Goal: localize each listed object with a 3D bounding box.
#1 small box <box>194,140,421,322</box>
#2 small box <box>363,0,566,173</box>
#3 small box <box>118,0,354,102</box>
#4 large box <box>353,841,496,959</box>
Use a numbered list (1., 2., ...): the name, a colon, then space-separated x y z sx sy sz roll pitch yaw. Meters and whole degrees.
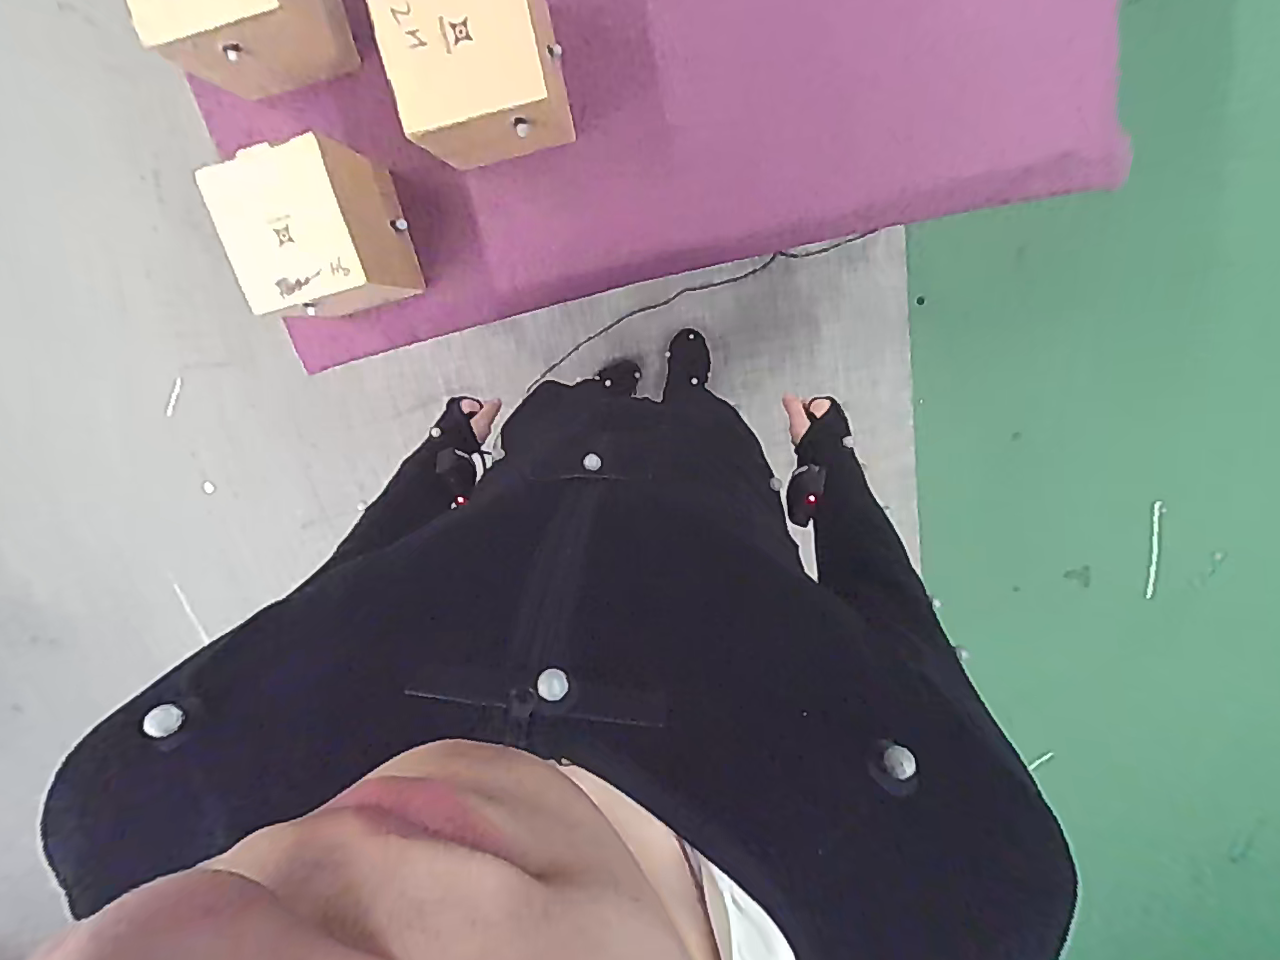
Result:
1. small box: -0.432 -0.320 0.734 0.168 0.176 0.179 -11 105 9
2. small box: -0.197 -0.500 0.661 0.179 0.176 0.168 -10 106 7
3. small box: -0.492 -0.593 0.654 0.179 0.176 0.168 -10 107 6
4. large box: -0.834 1.703 2.113 0.408 0.320 0.320 20 109 -3
